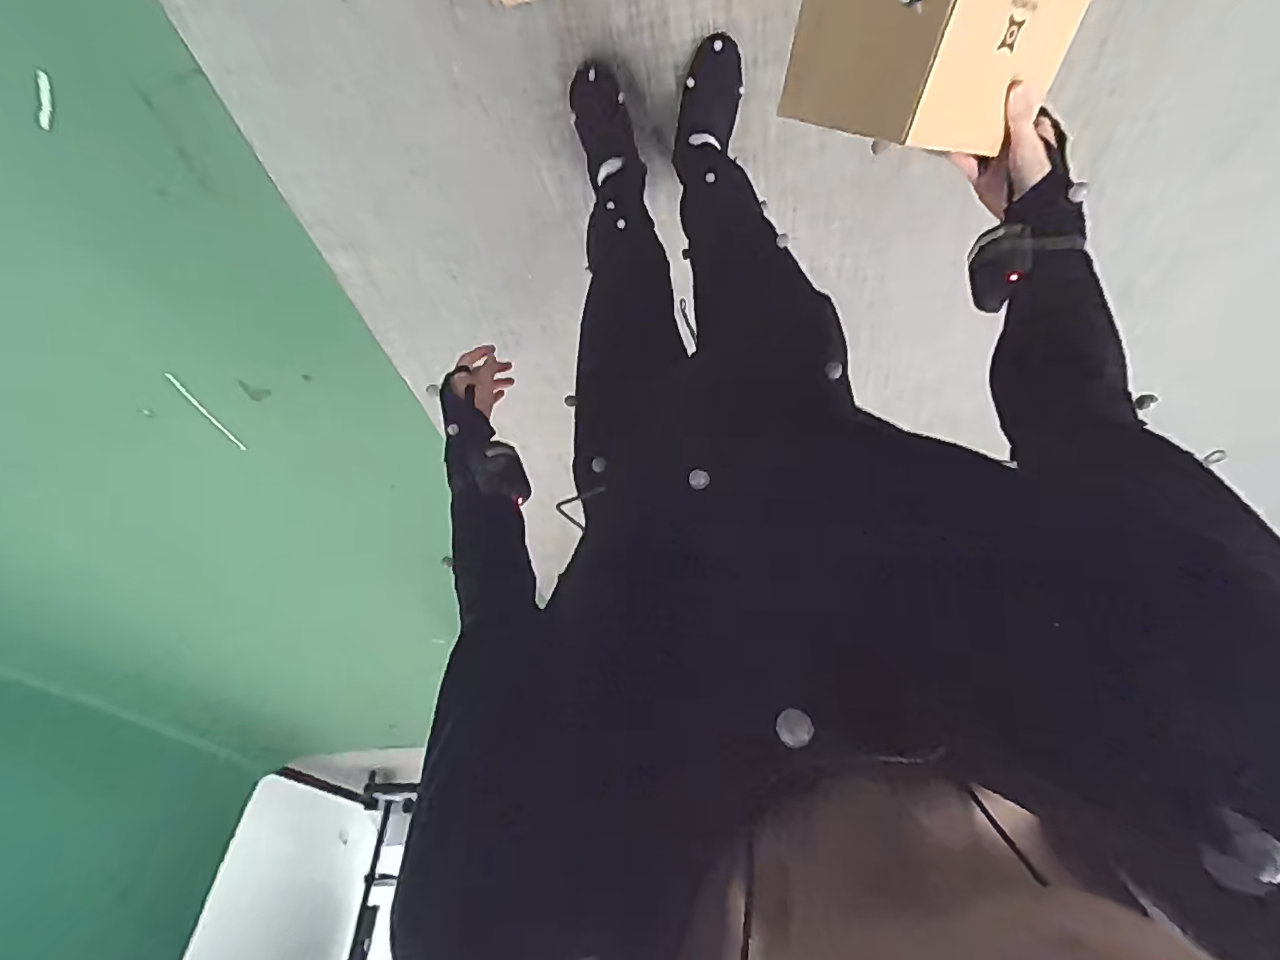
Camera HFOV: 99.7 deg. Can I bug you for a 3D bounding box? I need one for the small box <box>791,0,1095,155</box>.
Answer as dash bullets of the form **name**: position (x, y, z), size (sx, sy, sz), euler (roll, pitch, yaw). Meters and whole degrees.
- **small box**: position (0.262, -0.409, 0.481), size (0.168, 0.176, 0.179), euler (-12, 130, -26)
